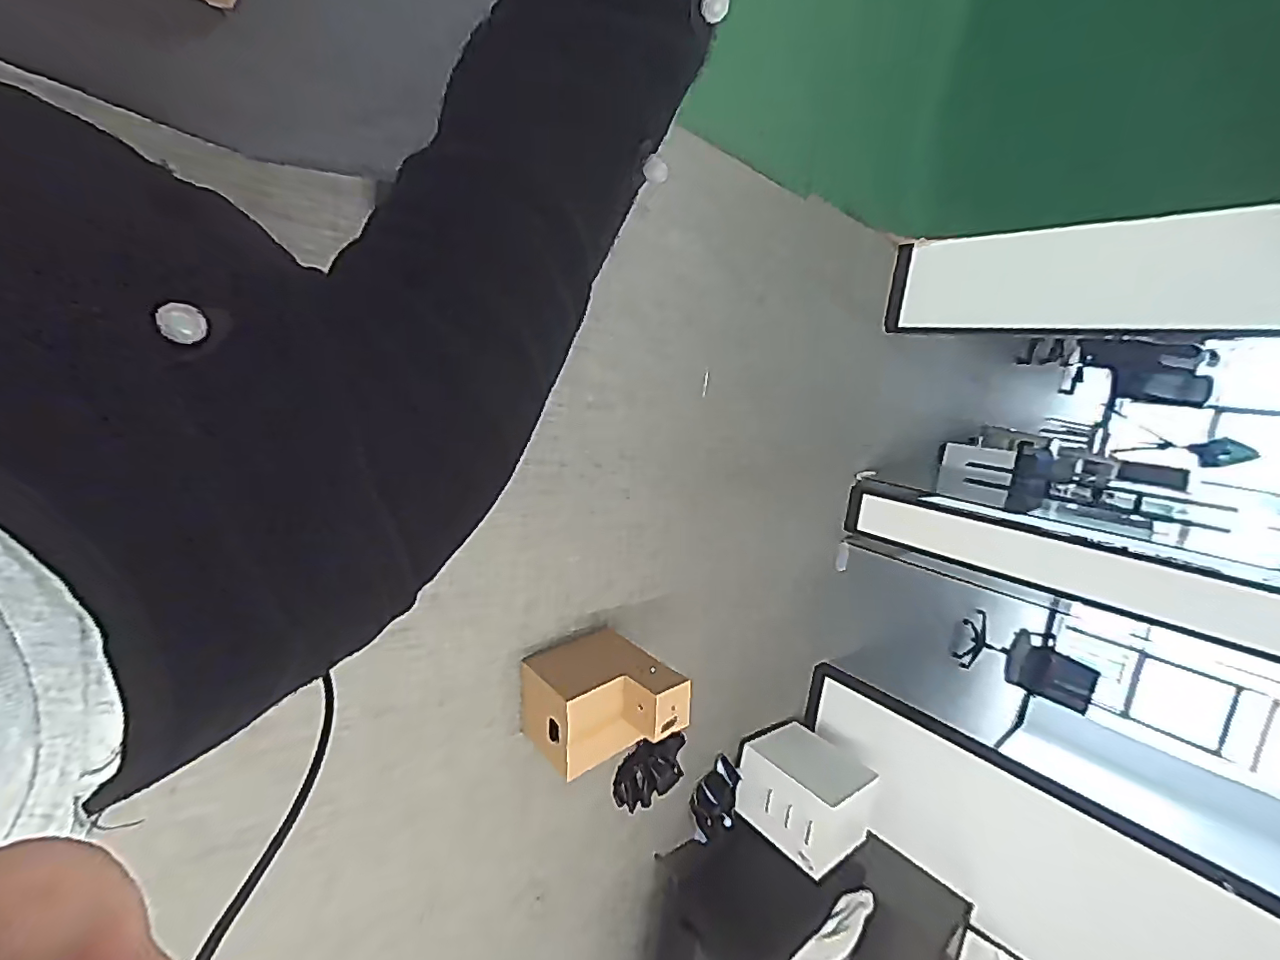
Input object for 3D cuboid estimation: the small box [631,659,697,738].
[{"bbox_3d":[0.080,0.756,1.893,0.168,0.176,0.179,-8,102,-42],"label":"small box"}]
